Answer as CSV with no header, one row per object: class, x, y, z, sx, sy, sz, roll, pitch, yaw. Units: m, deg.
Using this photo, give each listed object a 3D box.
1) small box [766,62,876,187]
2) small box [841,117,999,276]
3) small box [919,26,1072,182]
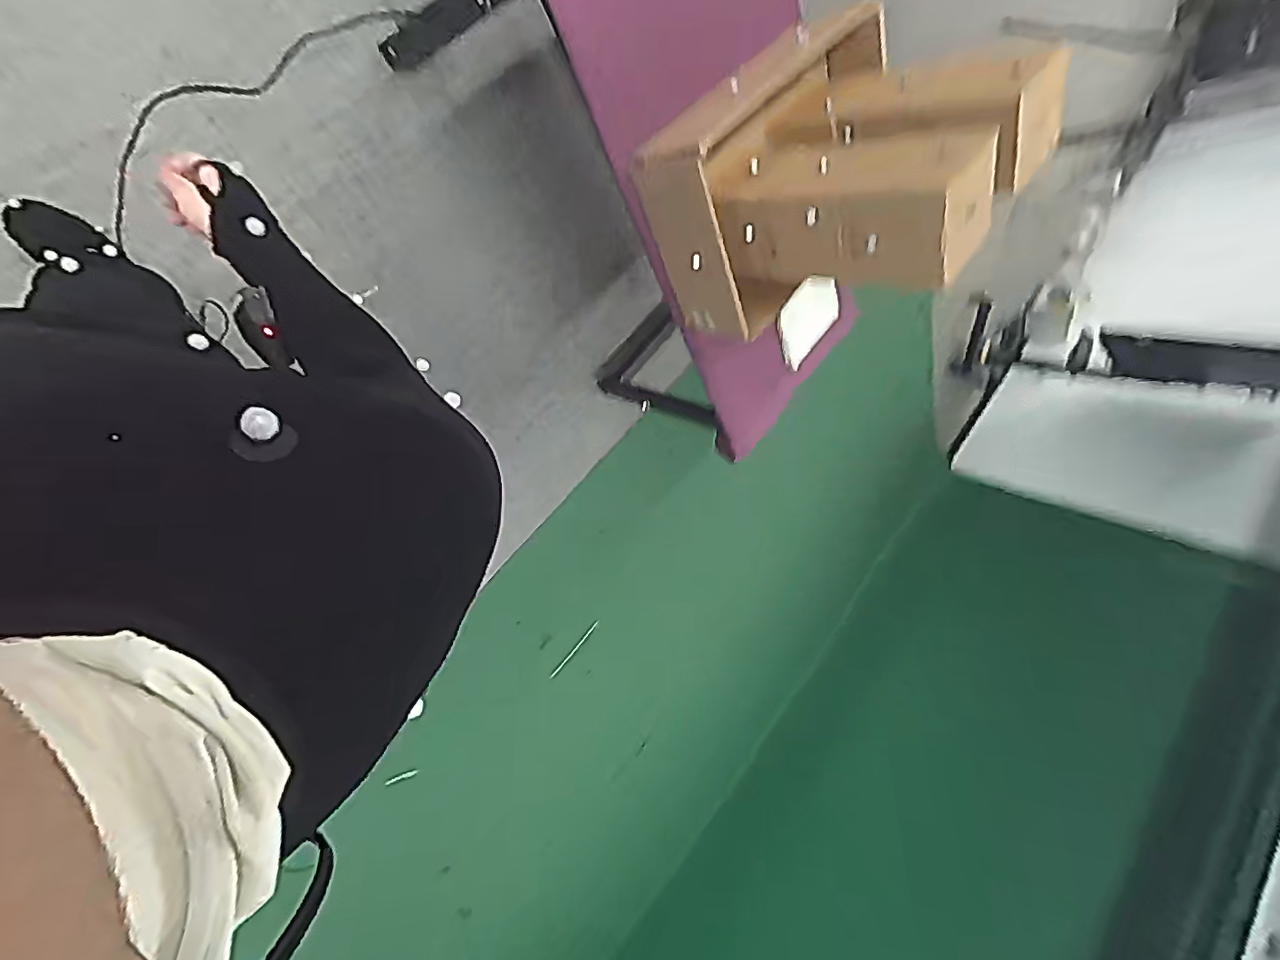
small box,0.405,-0.771,1.183,0.179,0.176,0.168,-48,136,-14
small box,0.454,-0.463,0.889,0.179,0.176,0.168,-47,135,-18
small box,0.624,-0.662,0.967,0.179,0.176,0.168,-48,136,-14
